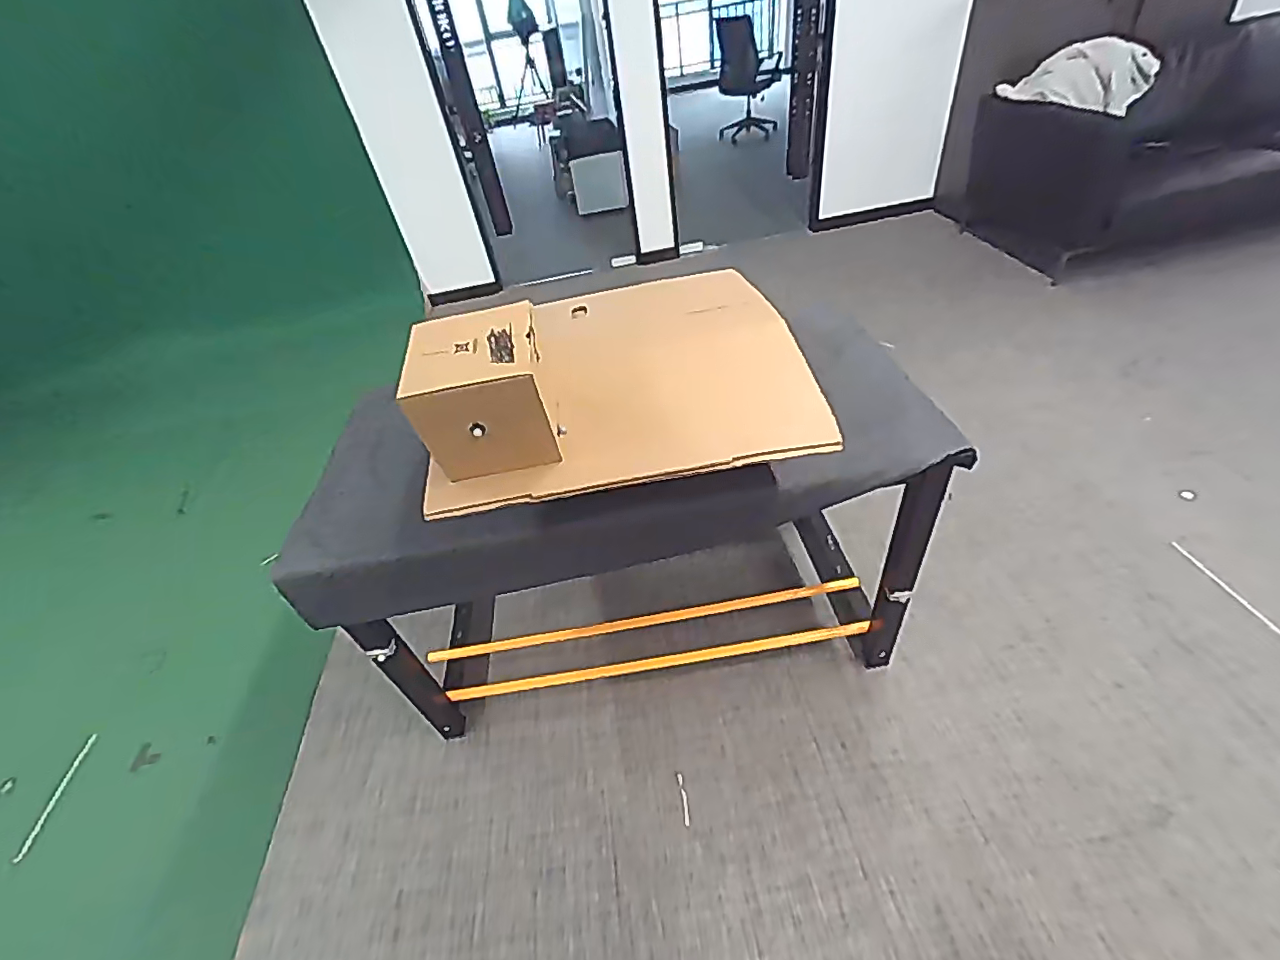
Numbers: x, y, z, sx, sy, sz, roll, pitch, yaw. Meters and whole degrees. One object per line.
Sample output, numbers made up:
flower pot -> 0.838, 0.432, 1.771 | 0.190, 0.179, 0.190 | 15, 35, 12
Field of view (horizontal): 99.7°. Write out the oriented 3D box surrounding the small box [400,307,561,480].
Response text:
small box -> -0.217, -0.122, 0.790 | 0.179, 0.176, 0.168 | -11, 50, 1
